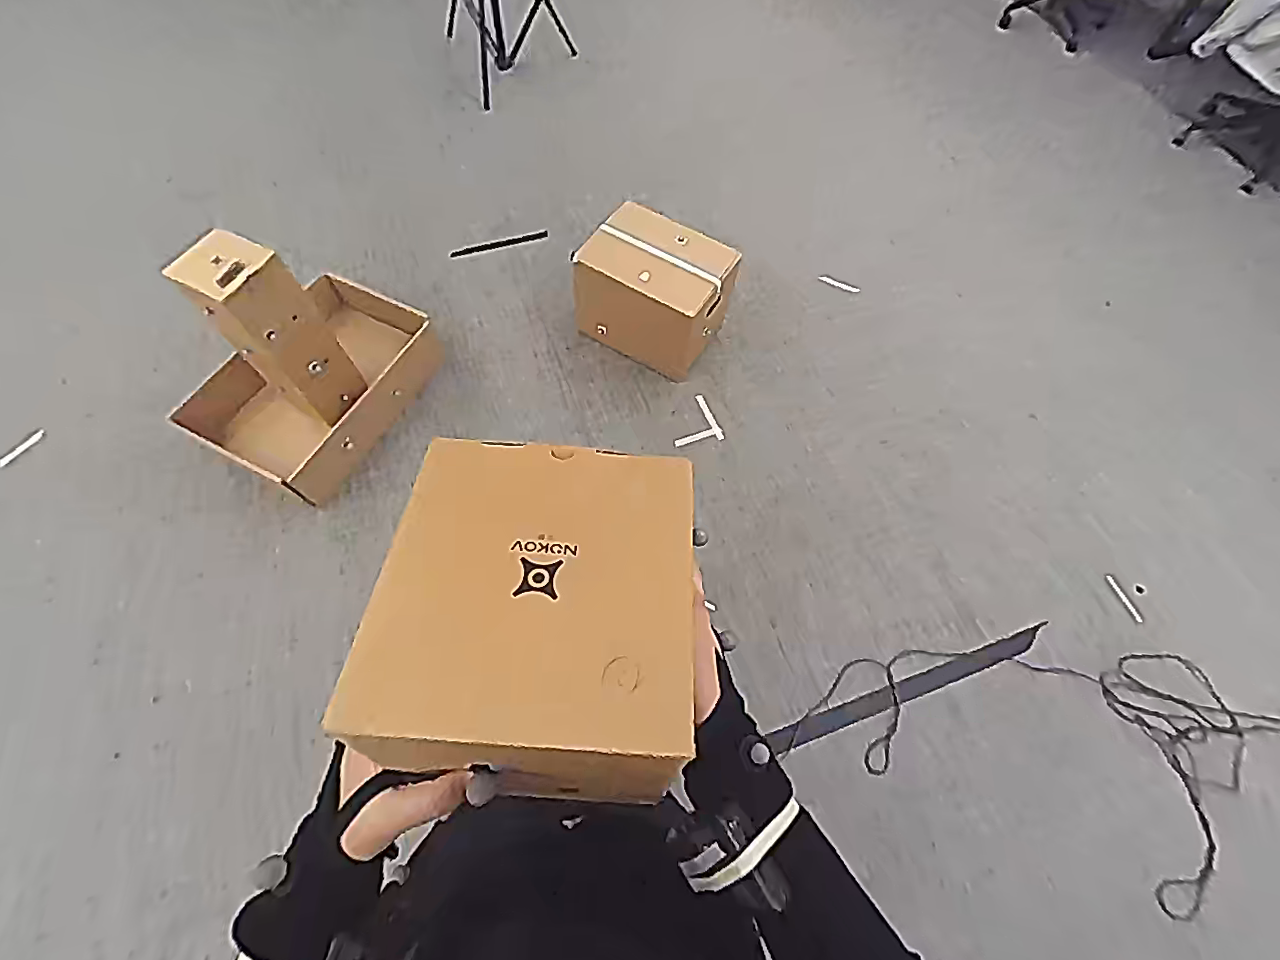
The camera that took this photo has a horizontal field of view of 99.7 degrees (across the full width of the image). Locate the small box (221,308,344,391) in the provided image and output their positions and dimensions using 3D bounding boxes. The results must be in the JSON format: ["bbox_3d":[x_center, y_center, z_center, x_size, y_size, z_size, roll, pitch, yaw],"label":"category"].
[{"bbox_3d":[-0.918,-0.358,1.397,0.179,0.176,0.168,27,66,9],"label":"small box"}]

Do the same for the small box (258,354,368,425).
[{"bbox_3d":[-0.925,-0.286,1.541,0.179,0.176,0.168,28,66,10],"label":"small box"}]

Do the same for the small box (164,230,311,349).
[{"bbox_3d":[-0.914,-0.431,1.249,0.179,0.176,0.168,25,66,10],"label":"small box"}]

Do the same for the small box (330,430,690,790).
[{"bbox_3d":[-0.059,0.092,0.355,0.168,0.176,0.179,5,51,-2],"label":"small box"}]
